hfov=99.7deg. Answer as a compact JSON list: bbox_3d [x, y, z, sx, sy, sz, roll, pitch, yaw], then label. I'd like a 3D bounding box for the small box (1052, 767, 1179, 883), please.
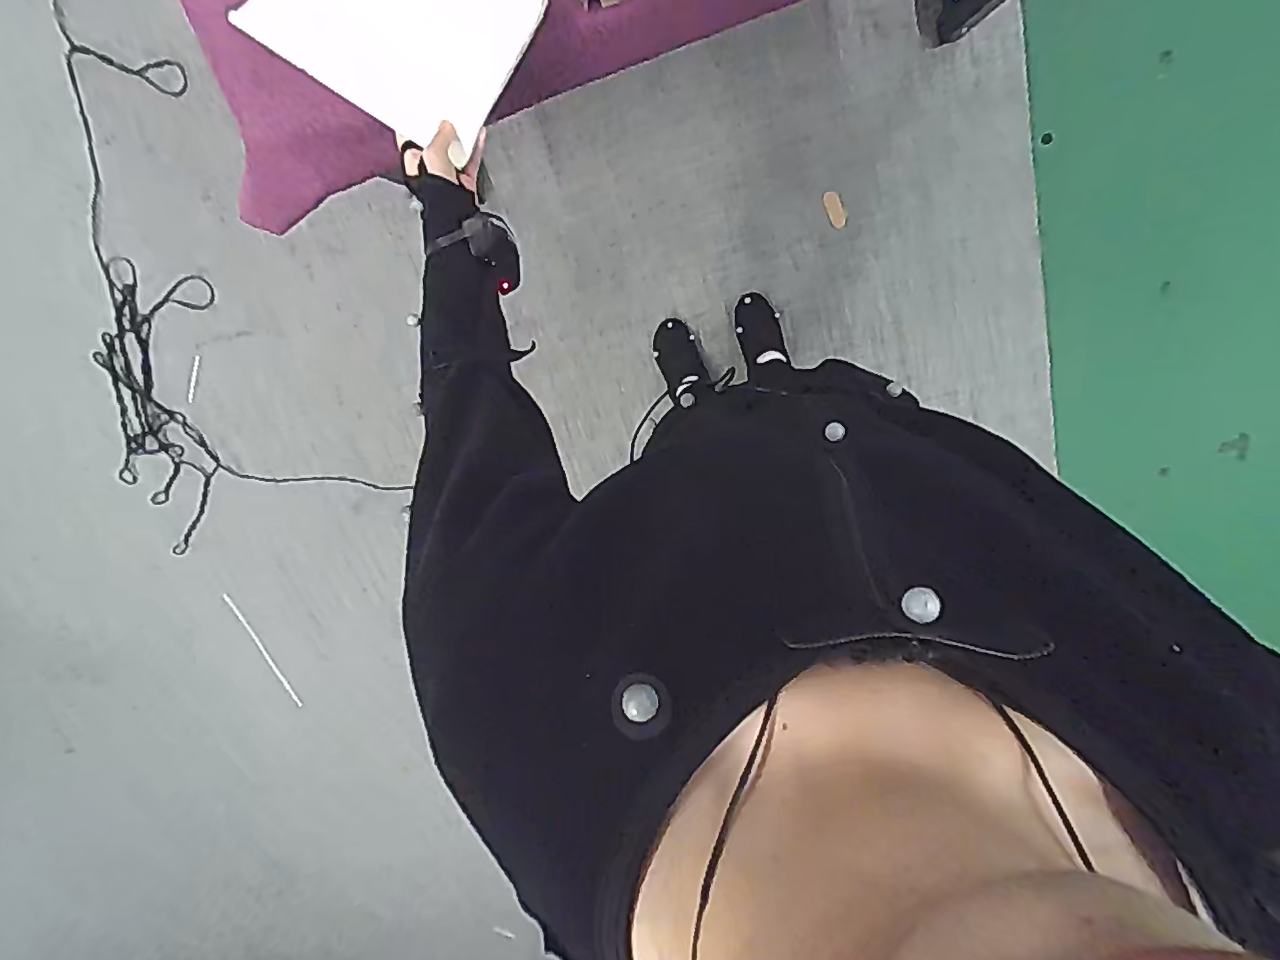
[{"bbox_3d":[1.199,0.865,1.376,0.168,0.176,0.179,-25,106,11],"label":"small box"}]
